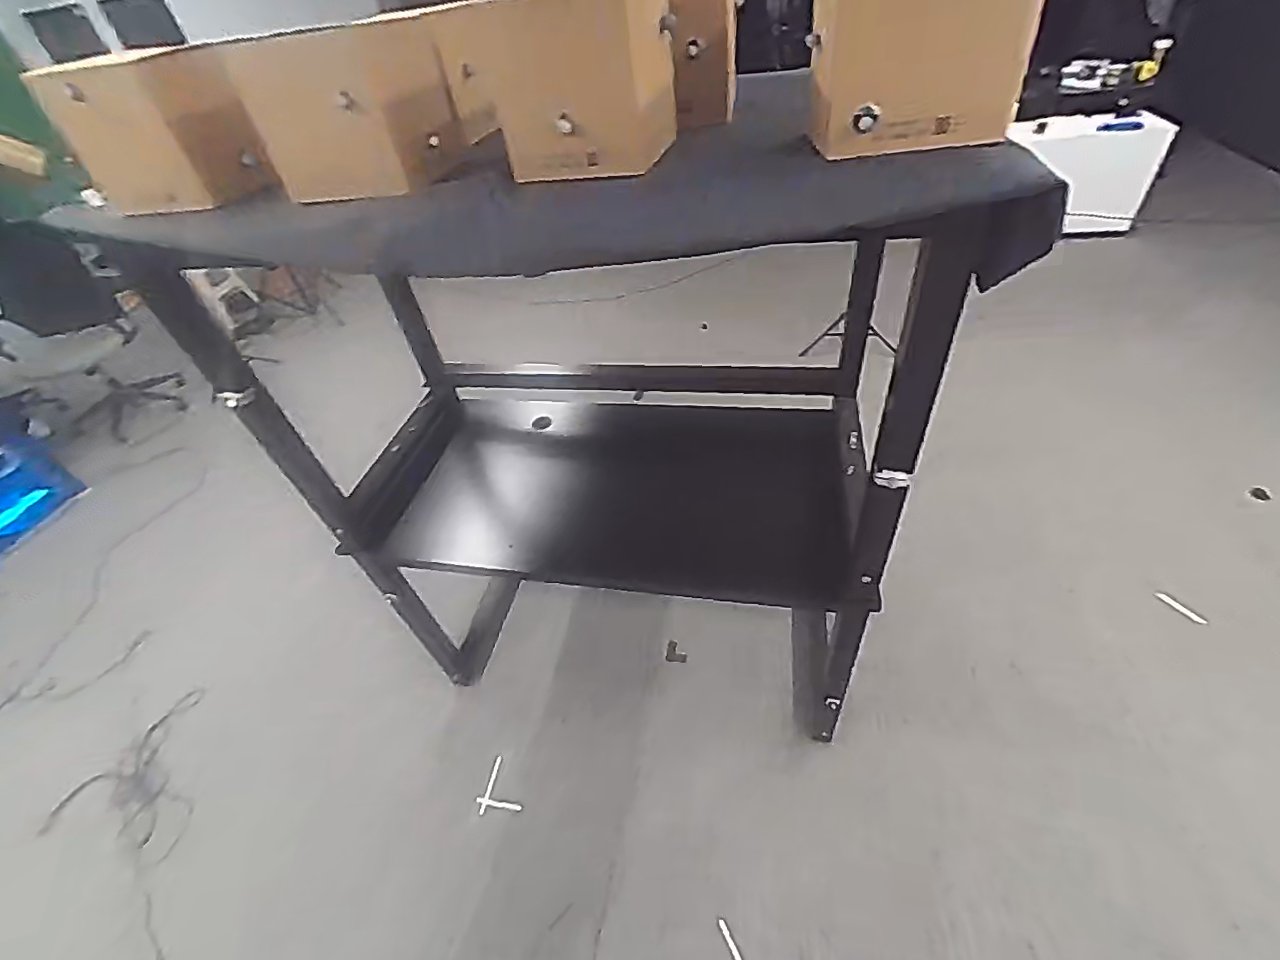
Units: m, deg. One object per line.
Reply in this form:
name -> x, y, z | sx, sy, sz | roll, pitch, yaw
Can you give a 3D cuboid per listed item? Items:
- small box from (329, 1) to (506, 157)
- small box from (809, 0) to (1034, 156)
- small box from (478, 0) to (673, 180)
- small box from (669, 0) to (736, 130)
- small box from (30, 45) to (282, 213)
small box -> -0.339, -0.639, 0.868 | 0.179, 0.176, 0.168 | 4, 46, 14
small box -> 0.266, -0.432, 0.537 | 0.168, 0.176, 0.179 | 0, 39, 10
small box -> -0.059, -0.470, 0.640 | 0.168, 0.176, 0.179 | 5, 45, 16
small box -> 0.050, -0.616, 0.775 | 0.168, 0.176, 0.179 | 3, 46, 11
small box -> -0.656, -0.494, 0.767 | 0.168, 0.176, 0.179 | 2, 44, 11
